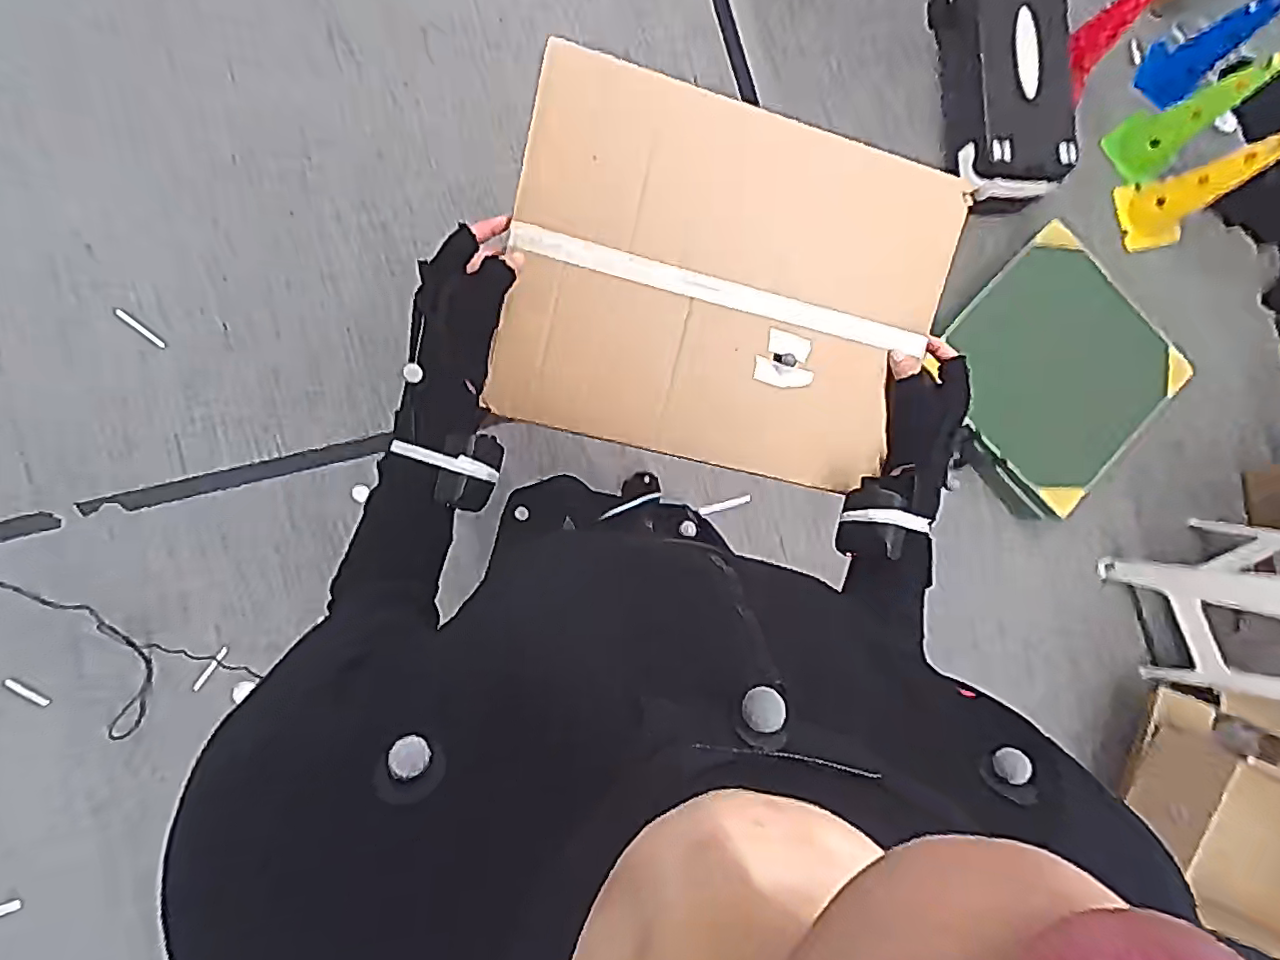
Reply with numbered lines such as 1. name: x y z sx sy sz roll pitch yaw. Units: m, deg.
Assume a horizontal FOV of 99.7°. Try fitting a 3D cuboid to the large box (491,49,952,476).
1. large box: 0.060 -0.214 0.660 0.408 0.320 0.320 12 100 -10
